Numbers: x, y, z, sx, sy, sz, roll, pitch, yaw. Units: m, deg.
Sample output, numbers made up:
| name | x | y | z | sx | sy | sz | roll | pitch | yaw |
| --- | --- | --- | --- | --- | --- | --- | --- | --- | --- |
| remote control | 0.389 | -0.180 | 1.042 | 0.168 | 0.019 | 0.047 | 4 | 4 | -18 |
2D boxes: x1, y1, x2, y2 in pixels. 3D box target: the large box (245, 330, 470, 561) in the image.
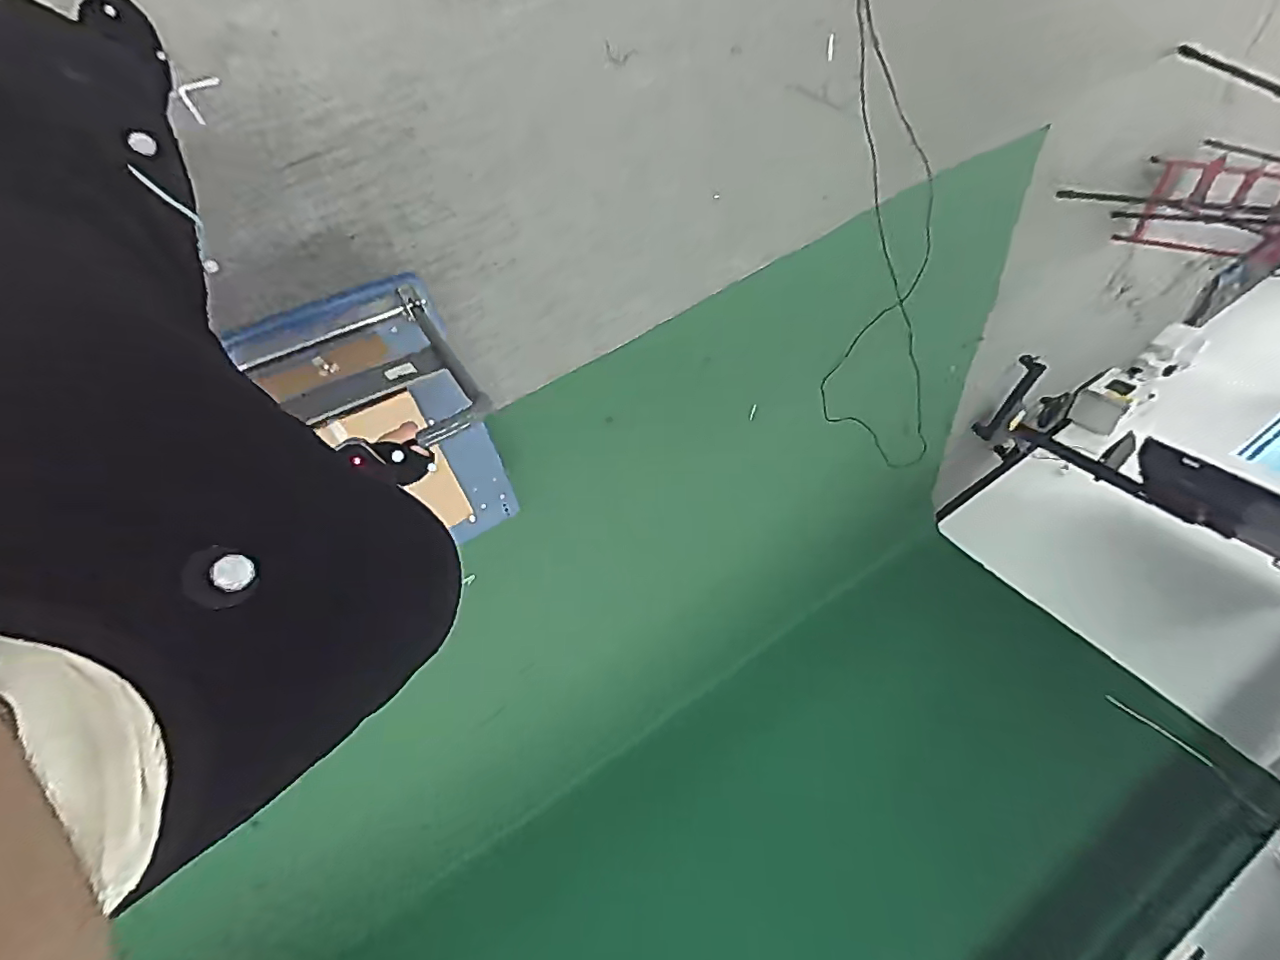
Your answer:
| name | x | y | z | sx | sy | sz | roll | pitch | yaw |
| --- | --- | --- | --- | --- | --- | --- | --- | --- | --- |
| large box | -0.680 | -0.086 | 1.329 | 0.320 | 0.320 | 0.408 | -28 | 138 | -16 |
